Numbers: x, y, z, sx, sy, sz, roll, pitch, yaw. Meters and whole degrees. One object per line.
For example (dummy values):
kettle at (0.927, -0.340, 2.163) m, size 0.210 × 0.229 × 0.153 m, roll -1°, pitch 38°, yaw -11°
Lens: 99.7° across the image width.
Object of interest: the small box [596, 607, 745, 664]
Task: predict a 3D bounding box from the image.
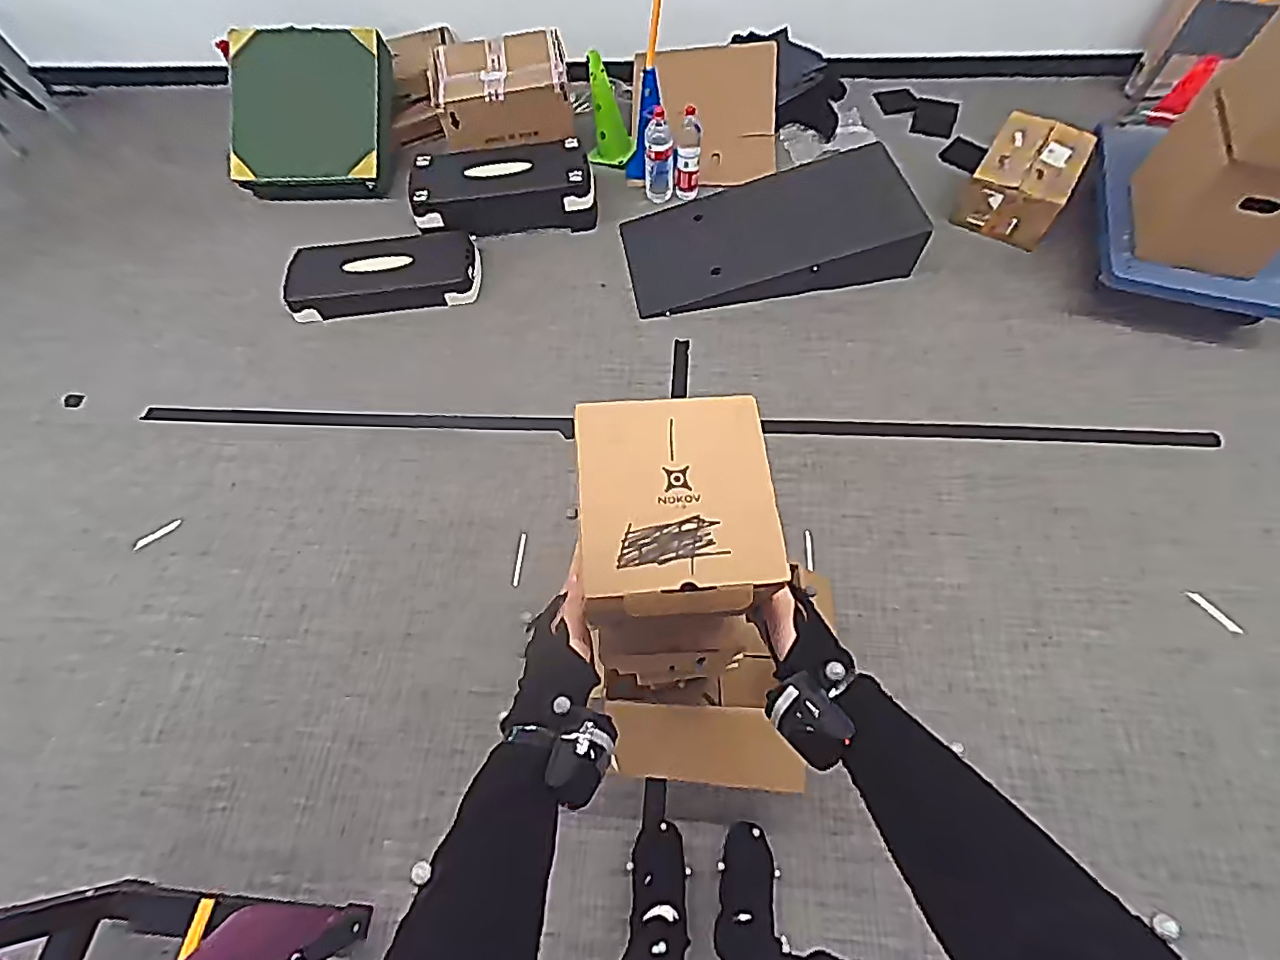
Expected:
small box at (0.031, 0.139, 0.689) m, size 0.168 × 0.176 × 0.179 m, roll -1°, pitch 67°, yaw -2°

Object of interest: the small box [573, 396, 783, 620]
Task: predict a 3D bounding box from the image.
small box at (0.024, 0.038, 0.526) m, size 0.168 × 0.176 × 0.179 m, roll -3°, pitch 68°, yaw -5°
